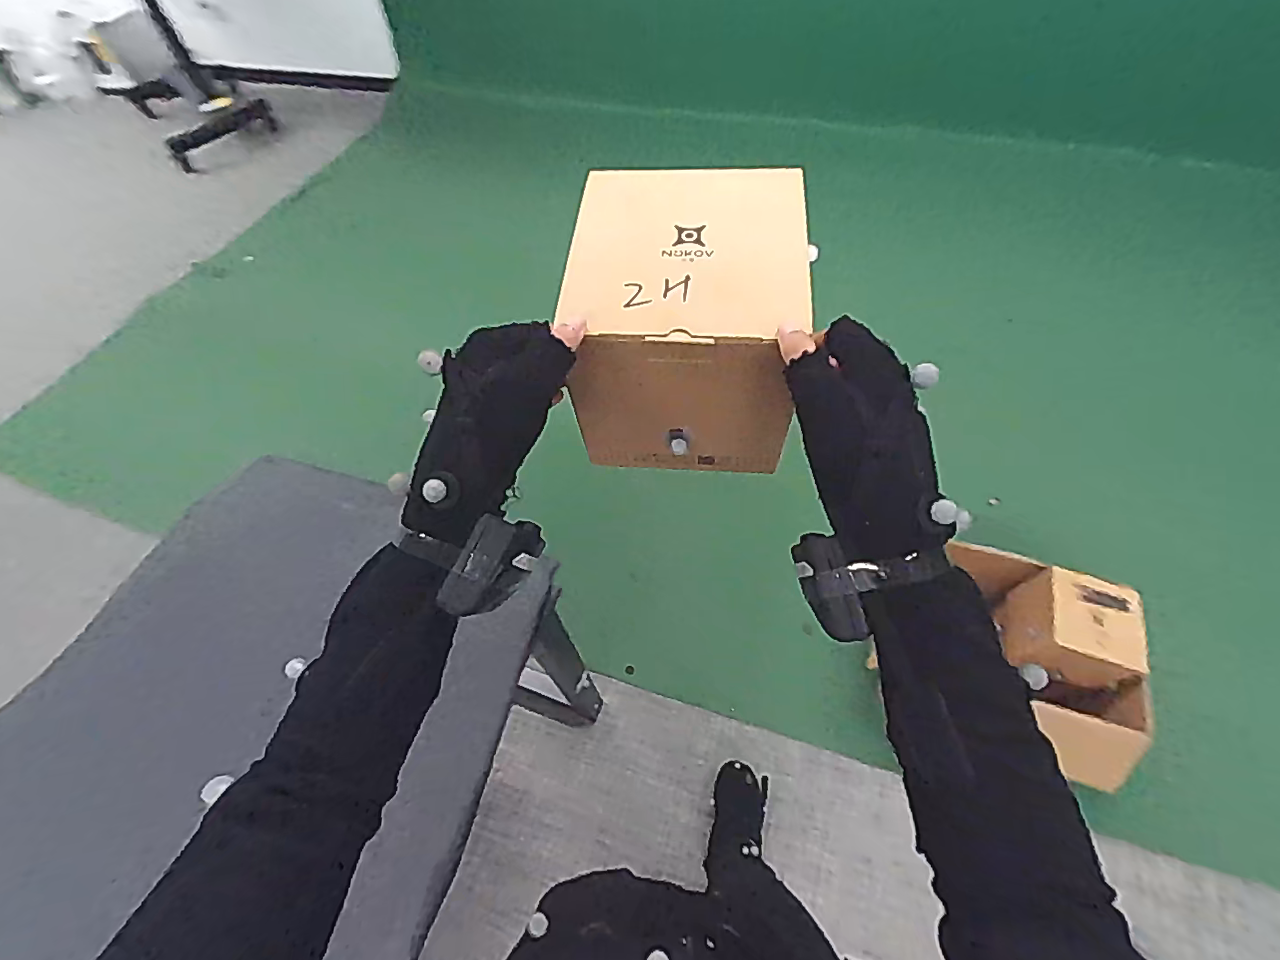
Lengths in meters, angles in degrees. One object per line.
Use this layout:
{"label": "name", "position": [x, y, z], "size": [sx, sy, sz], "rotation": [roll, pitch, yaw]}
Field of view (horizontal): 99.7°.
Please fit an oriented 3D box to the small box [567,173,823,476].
{"label": "small box", "position": [0.048, -0.124, 0.450], "size": [0.168, 0.176, 0.179], "rotation": [4, 61, 7]}
